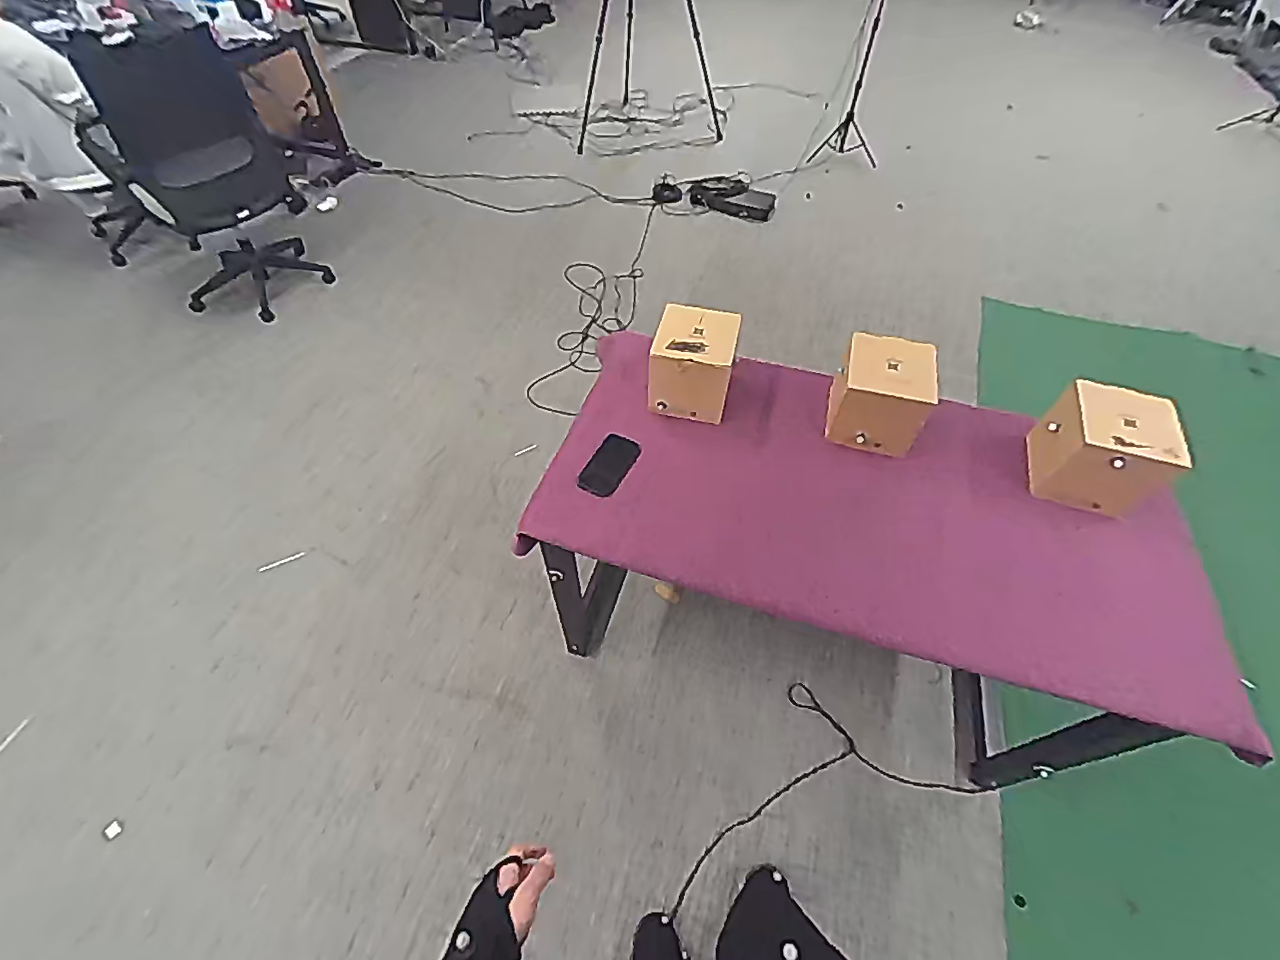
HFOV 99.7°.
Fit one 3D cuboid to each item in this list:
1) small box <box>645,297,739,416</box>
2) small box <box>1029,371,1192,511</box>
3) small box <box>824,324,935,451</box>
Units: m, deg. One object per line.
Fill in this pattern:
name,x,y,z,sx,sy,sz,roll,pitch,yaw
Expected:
small box,0.110,-0.263,1.166,0.168,0.176,0.179,12,53,8
small box,0.873,-0.072,1.027,0.168,0.176,0.179,16,55,13
small box,0.488,-0.189,1.115,0.168,0.176,0.179,13,55,11
